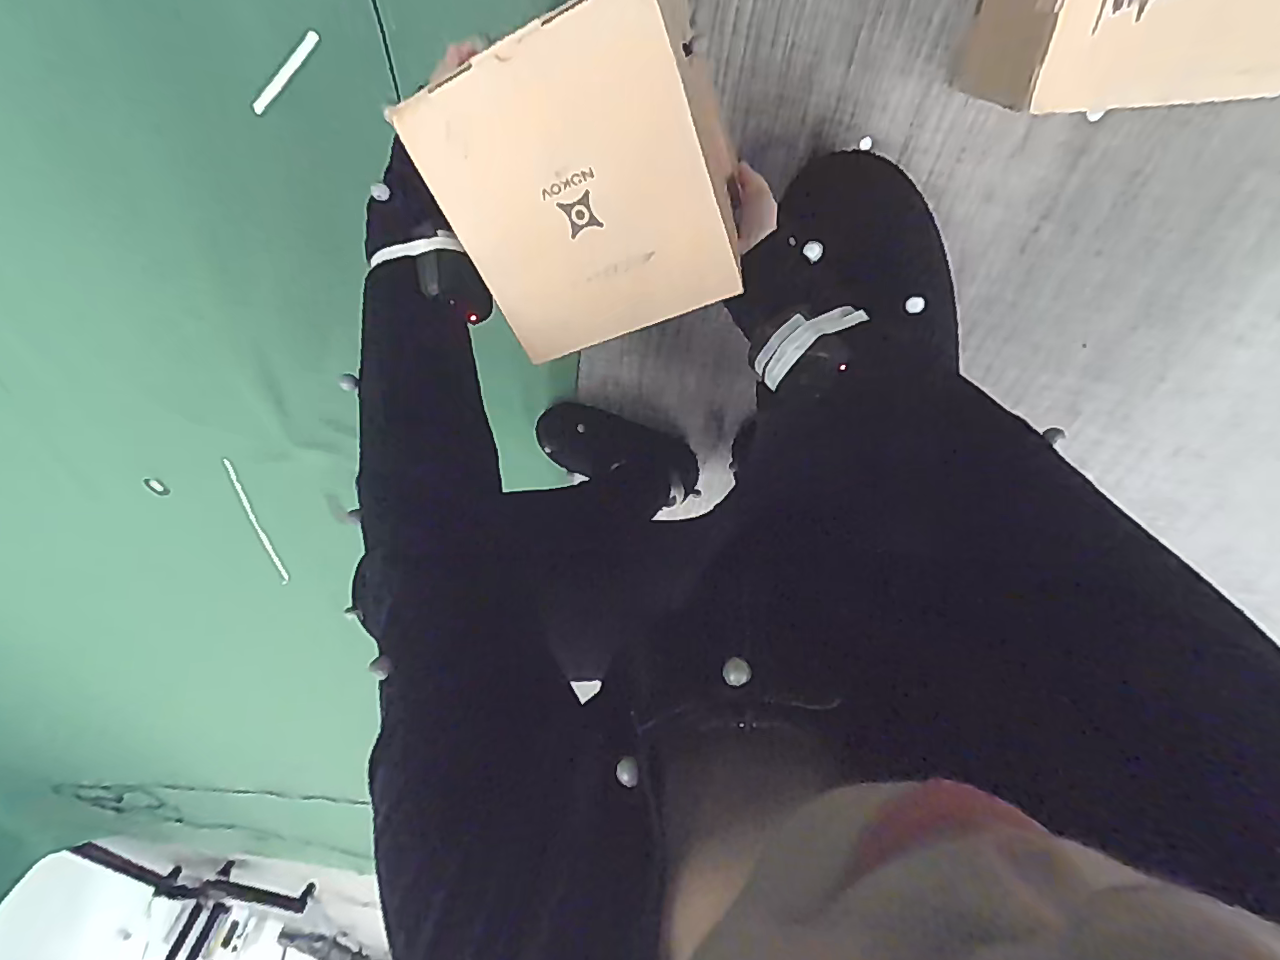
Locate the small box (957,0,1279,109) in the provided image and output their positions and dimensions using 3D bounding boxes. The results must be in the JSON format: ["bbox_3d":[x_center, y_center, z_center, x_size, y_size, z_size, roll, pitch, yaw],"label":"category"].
[{"bbox_3d":[0.375,-0.394,0.410,0.179,0.176,0.168,0,131,7],"label":"small box"}]
